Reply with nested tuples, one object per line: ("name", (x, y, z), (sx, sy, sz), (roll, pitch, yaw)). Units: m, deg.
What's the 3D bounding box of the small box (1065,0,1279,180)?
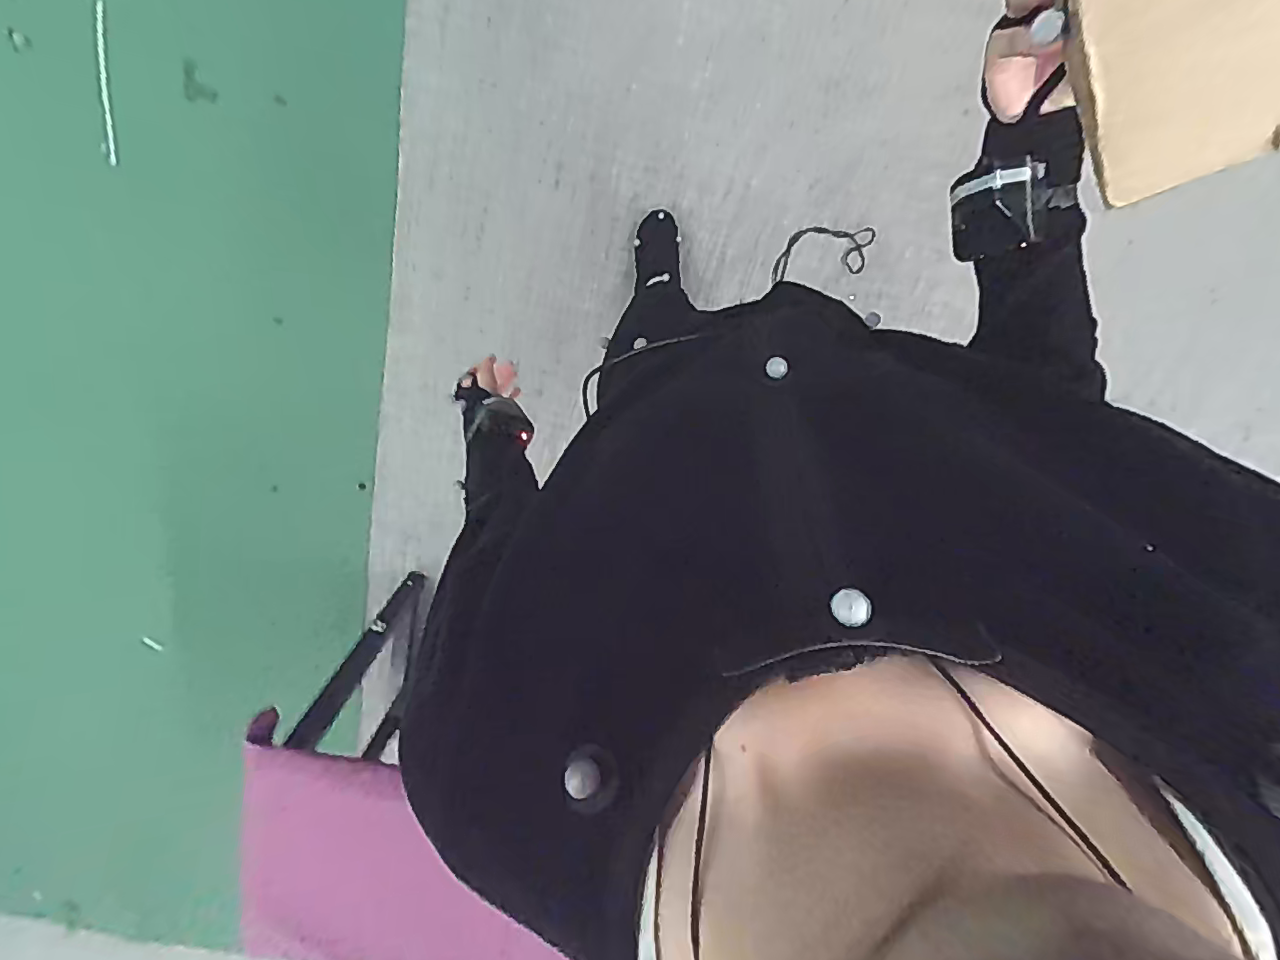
("small box", (0.264, -0.272, 0.203), (0.168, 0.179, 0.176), (-14, 148, 40))
